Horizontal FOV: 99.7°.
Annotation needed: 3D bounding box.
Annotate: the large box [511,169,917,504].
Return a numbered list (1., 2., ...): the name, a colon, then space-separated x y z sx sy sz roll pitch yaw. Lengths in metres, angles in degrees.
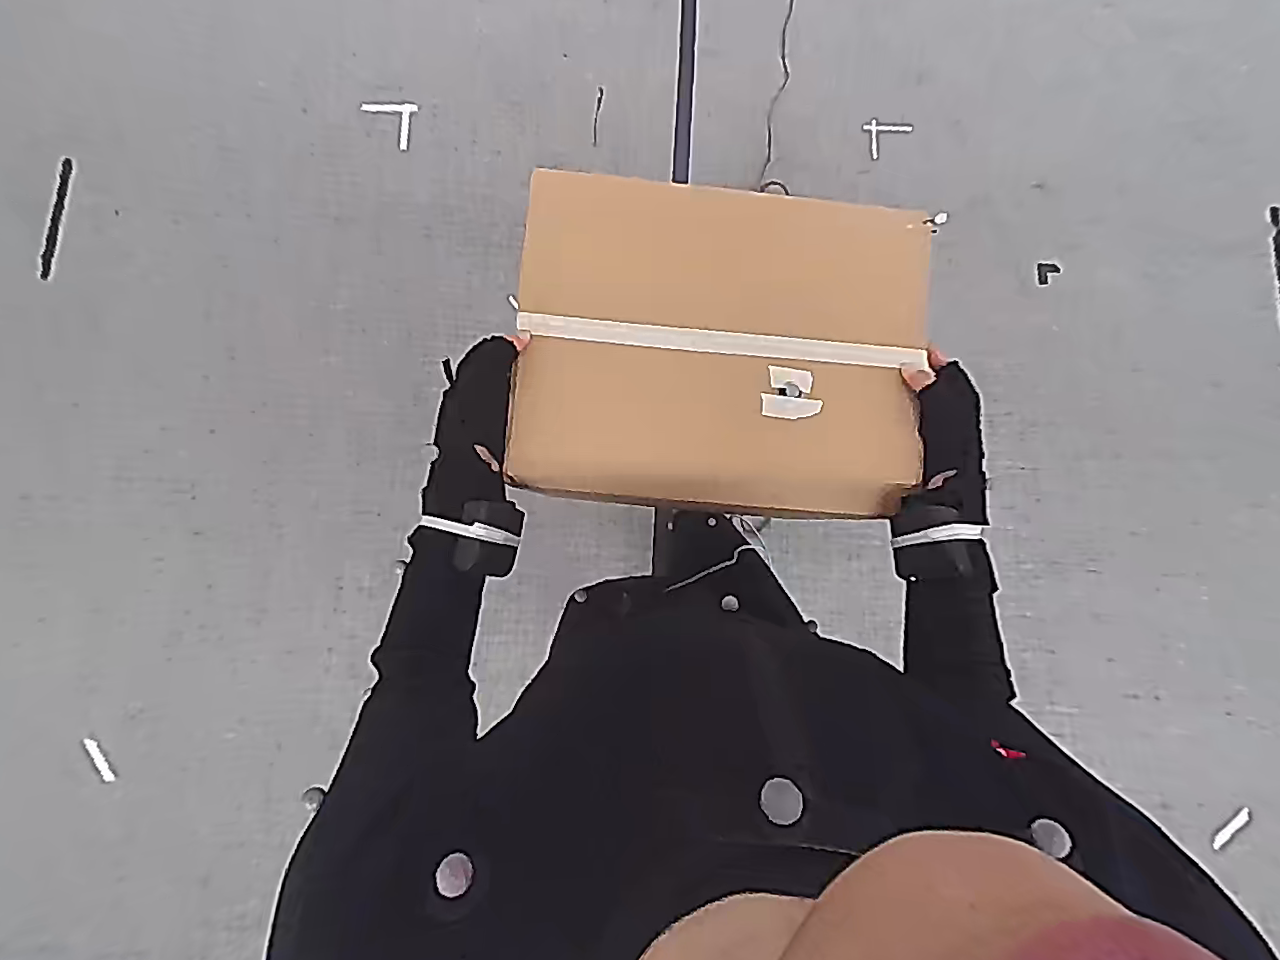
1. large box: 0.071 -0.139 0.693 0.408 0.320 0.320 6 87 -3
